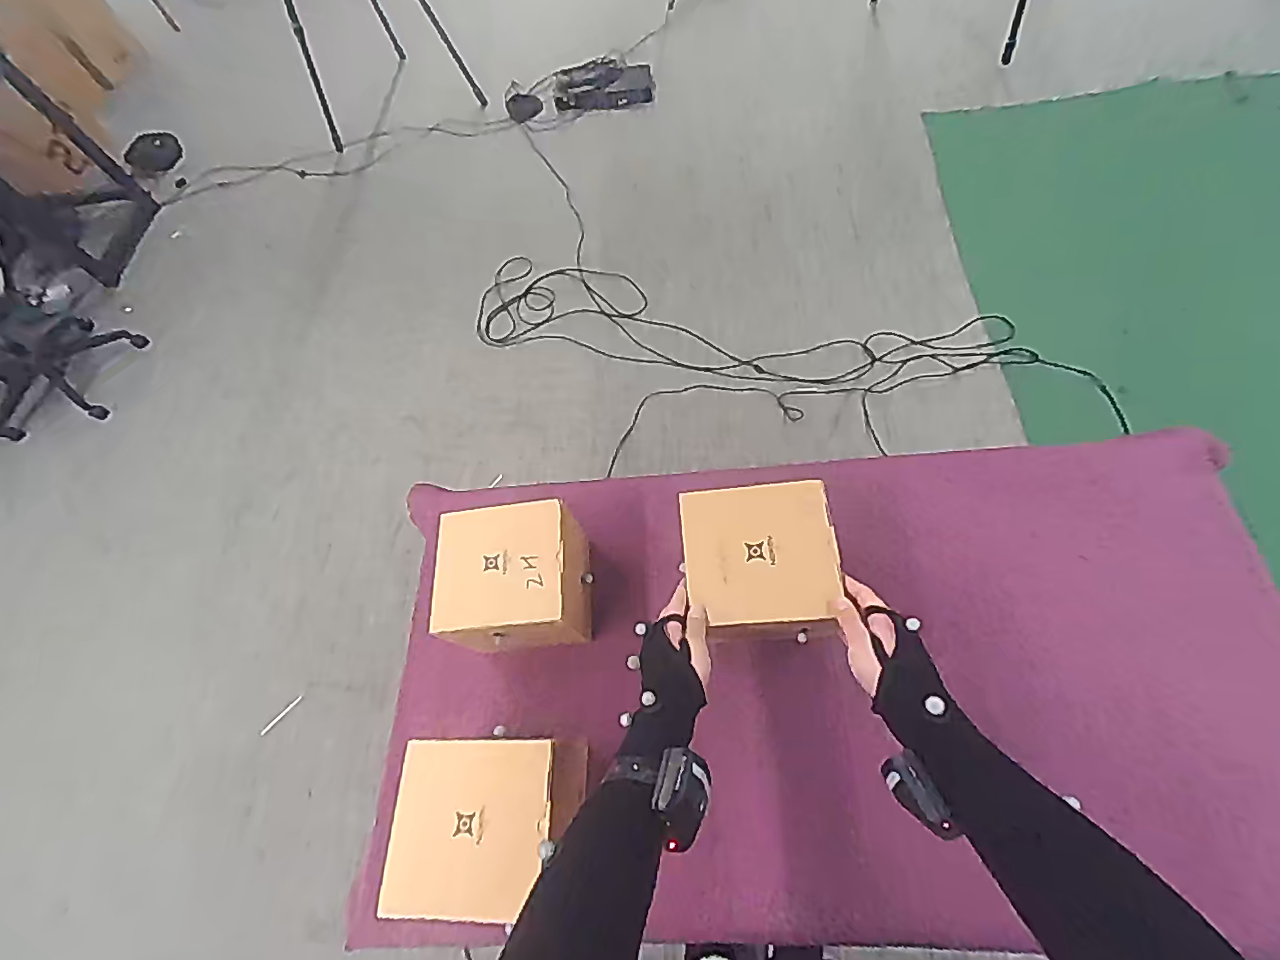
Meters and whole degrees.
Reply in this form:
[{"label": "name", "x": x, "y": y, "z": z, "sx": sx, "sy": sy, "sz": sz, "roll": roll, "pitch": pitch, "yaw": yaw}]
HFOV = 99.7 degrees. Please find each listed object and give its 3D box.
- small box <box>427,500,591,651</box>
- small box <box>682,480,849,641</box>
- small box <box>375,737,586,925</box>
[{"label": "small box", "x": -0.174, "y": 0.144, "z": 0.774, "sx": 0.179, "sy": 0.176, "sz": 0.168, "roll": -7, "pitch": 63, "yaw": 5}, {"label": "small box", "x": 0.152, "y": 0.112, "z": 0.699, "sx": 0.179, "sy": 0.176, "sz": 0.168, "roll": -6, "pitch": 66, "yaw": 8}, {"label": "small box", "x": -0.172, "y": 0.403, "z": 0.643, "sx": 0.179, "sy": 0.176, "sz": 0.168, "roll": -3, "pitch": 62, "yaw": 6}]
